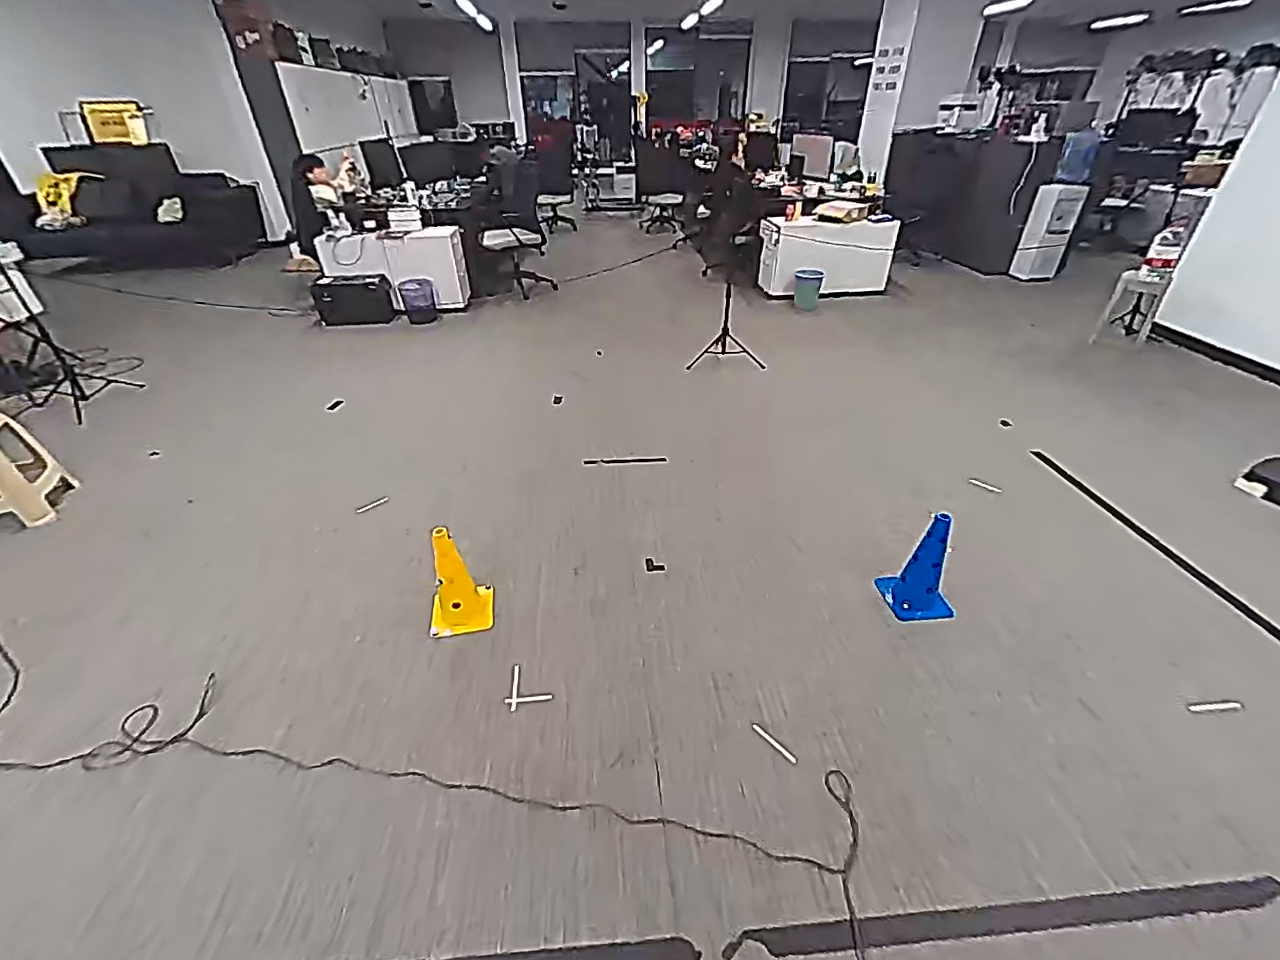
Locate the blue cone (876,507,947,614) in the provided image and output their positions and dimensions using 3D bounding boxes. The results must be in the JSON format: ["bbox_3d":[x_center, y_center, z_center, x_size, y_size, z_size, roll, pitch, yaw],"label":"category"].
[{"bbox_3d":[0.937,0.254,1.780,0.193,0.380,0.192,-3,34,-3],"label":"blue cone"}]
